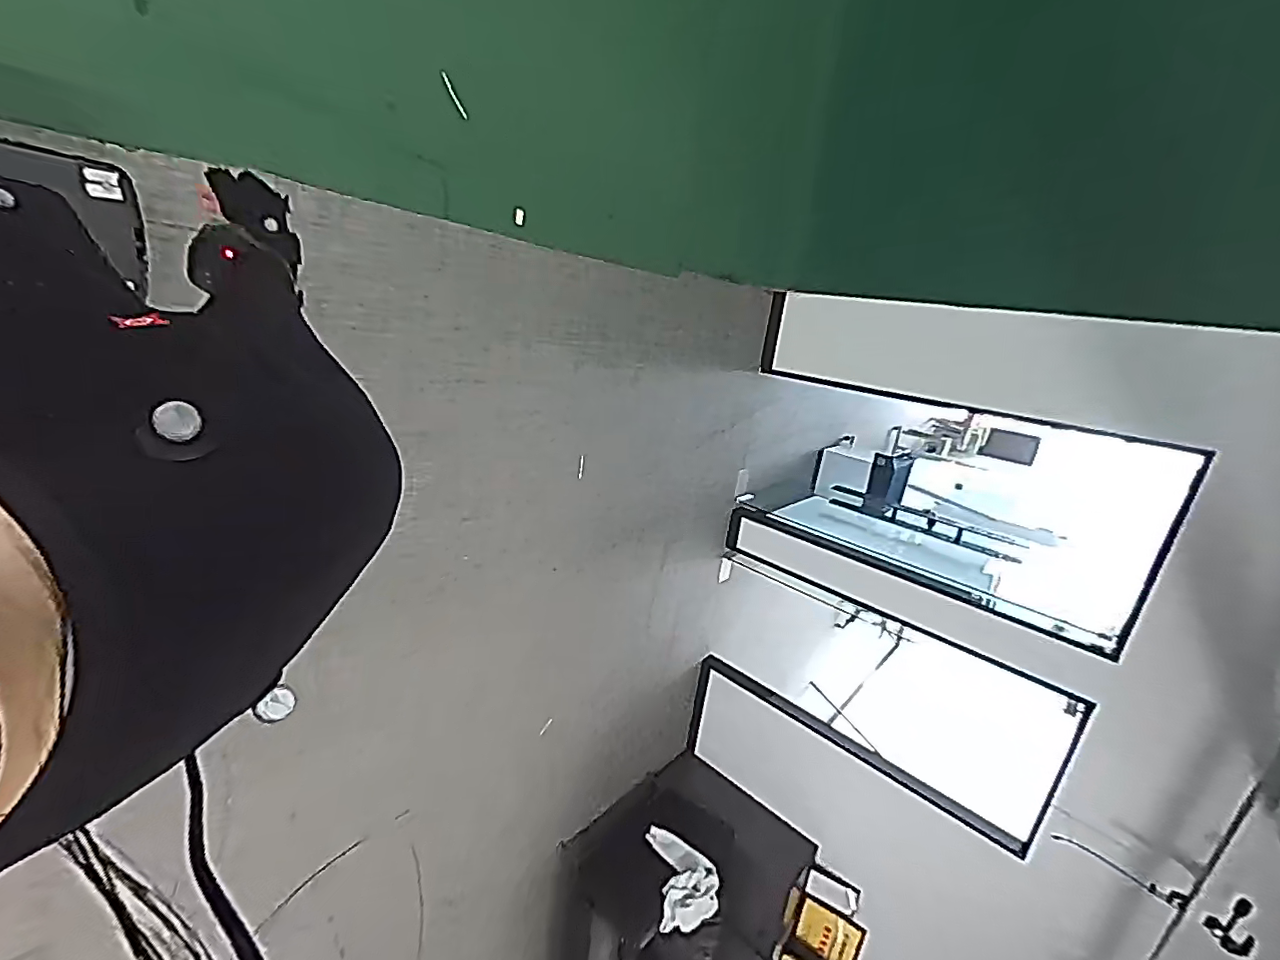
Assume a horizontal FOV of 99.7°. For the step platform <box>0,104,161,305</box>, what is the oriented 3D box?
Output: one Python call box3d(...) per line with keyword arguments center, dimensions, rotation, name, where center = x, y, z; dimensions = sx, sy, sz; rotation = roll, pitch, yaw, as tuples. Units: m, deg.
box3d(center=(-1.116, -0.422, 0.730), dimensions=(0.684, 0.204, 0.286), rotation=(-11, 116, -47), name="step platform")
